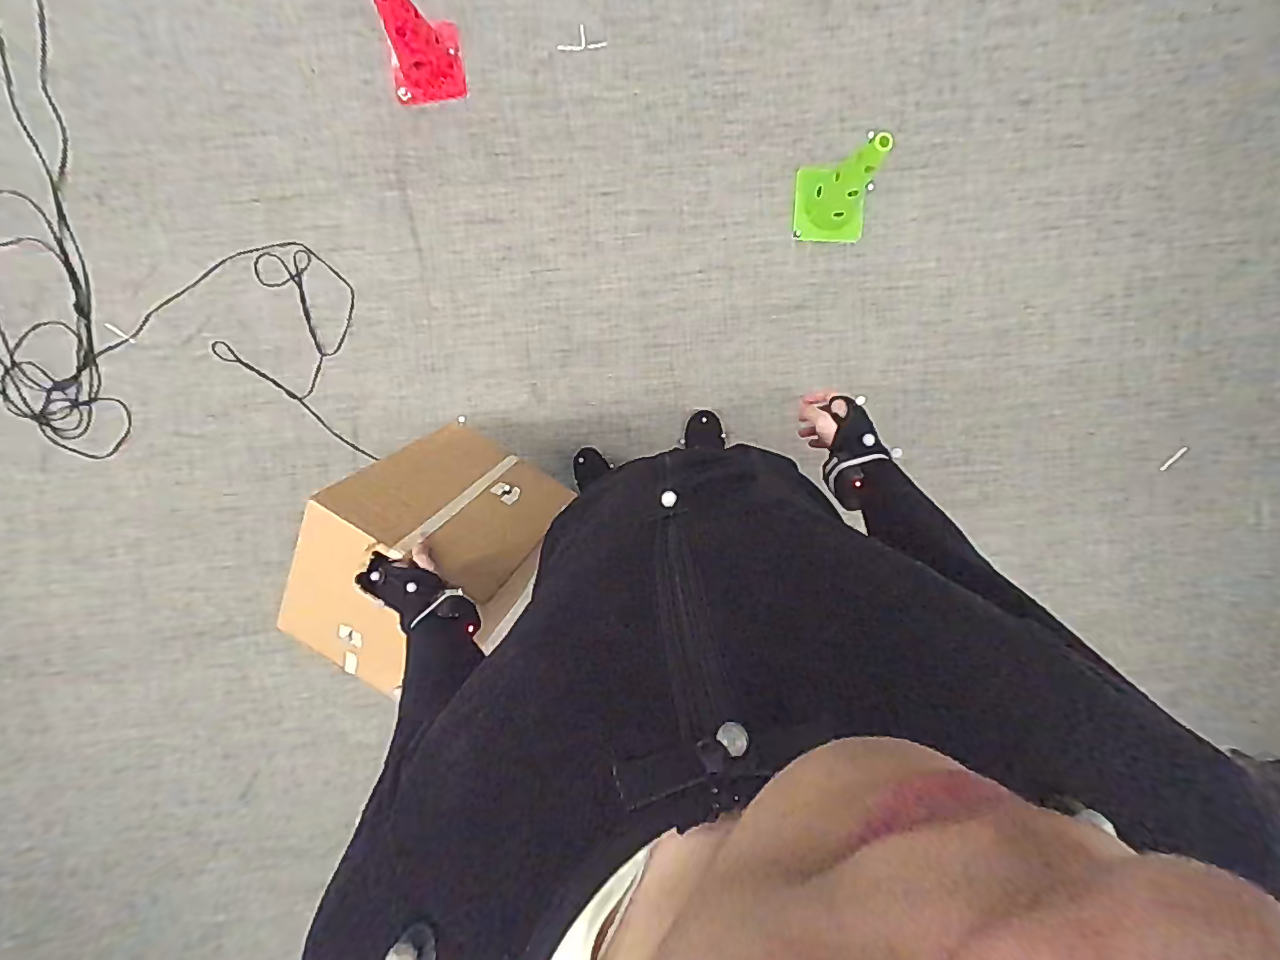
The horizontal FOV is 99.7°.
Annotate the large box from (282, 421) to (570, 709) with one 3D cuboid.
[{"bbox_3d":[-0.390,0.142,1.050,0.320,0.408,0.320,32,117,-1],"label":"large box"}]

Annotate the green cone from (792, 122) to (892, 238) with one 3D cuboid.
[{"bbox_3d":[0.543,-0.786,1.380,0.200,0.368,0.202,1,95,-1],"label":"green cone"}]
